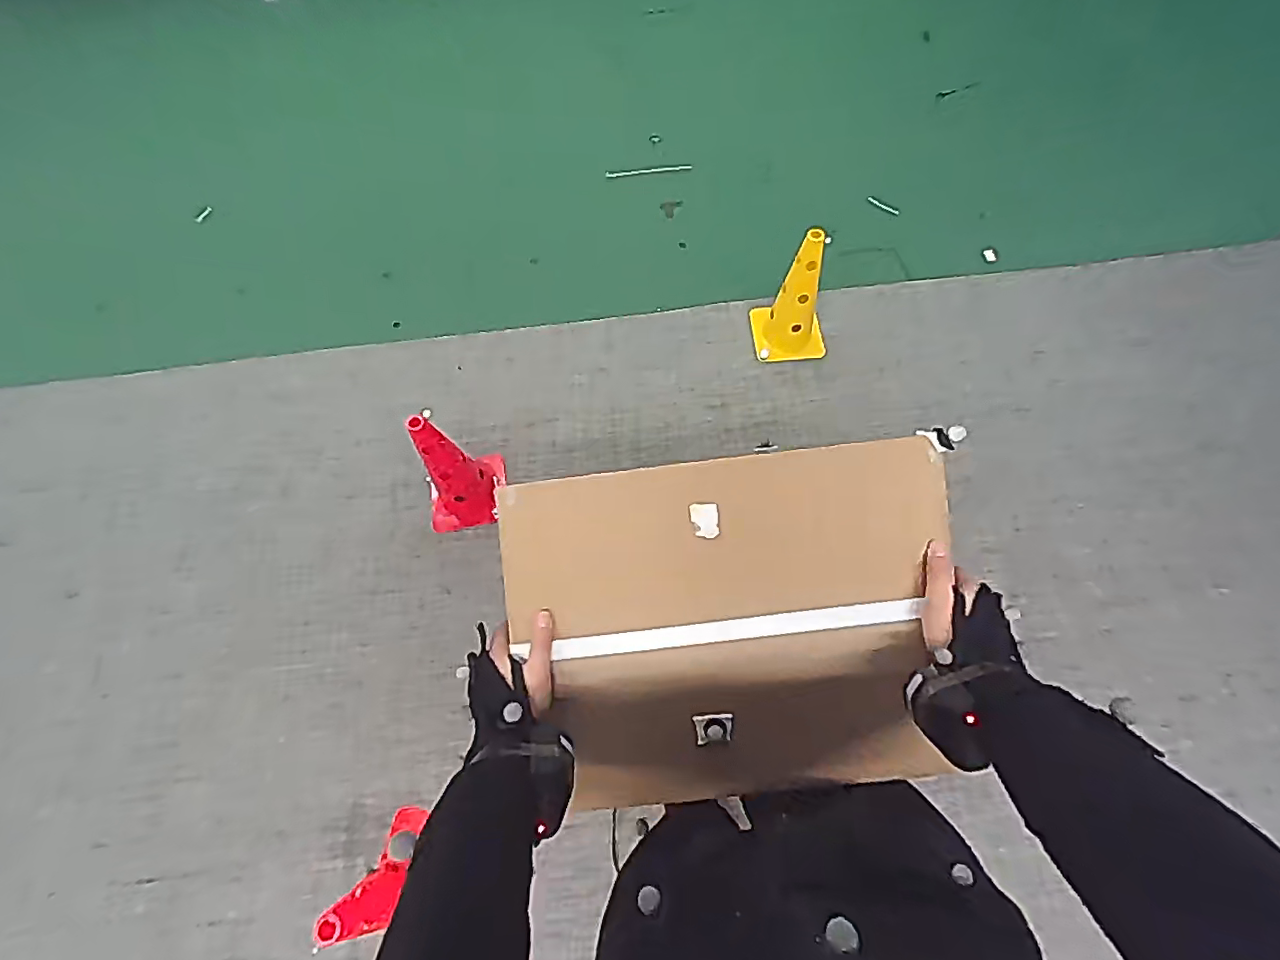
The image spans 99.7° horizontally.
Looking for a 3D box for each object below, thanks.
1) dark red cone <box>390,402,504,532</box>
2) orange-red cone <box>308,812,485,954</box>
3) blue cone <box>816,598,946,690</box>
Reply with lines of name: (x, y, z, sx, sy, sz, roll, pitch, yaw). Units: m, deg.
dark red cone: (-0.467, -0.050, 1.262, 0.202, 0.394, 0.201, -14, 61, -3)
orange-red cone: (-0.436, 0.709, 0.913, 0.199, 0.360, 0.198, 11, 64, 11)
blue cone: (0.493, 0.297, 1.068, 0.192, 0.380, 0.193, -7, 64, 0)
